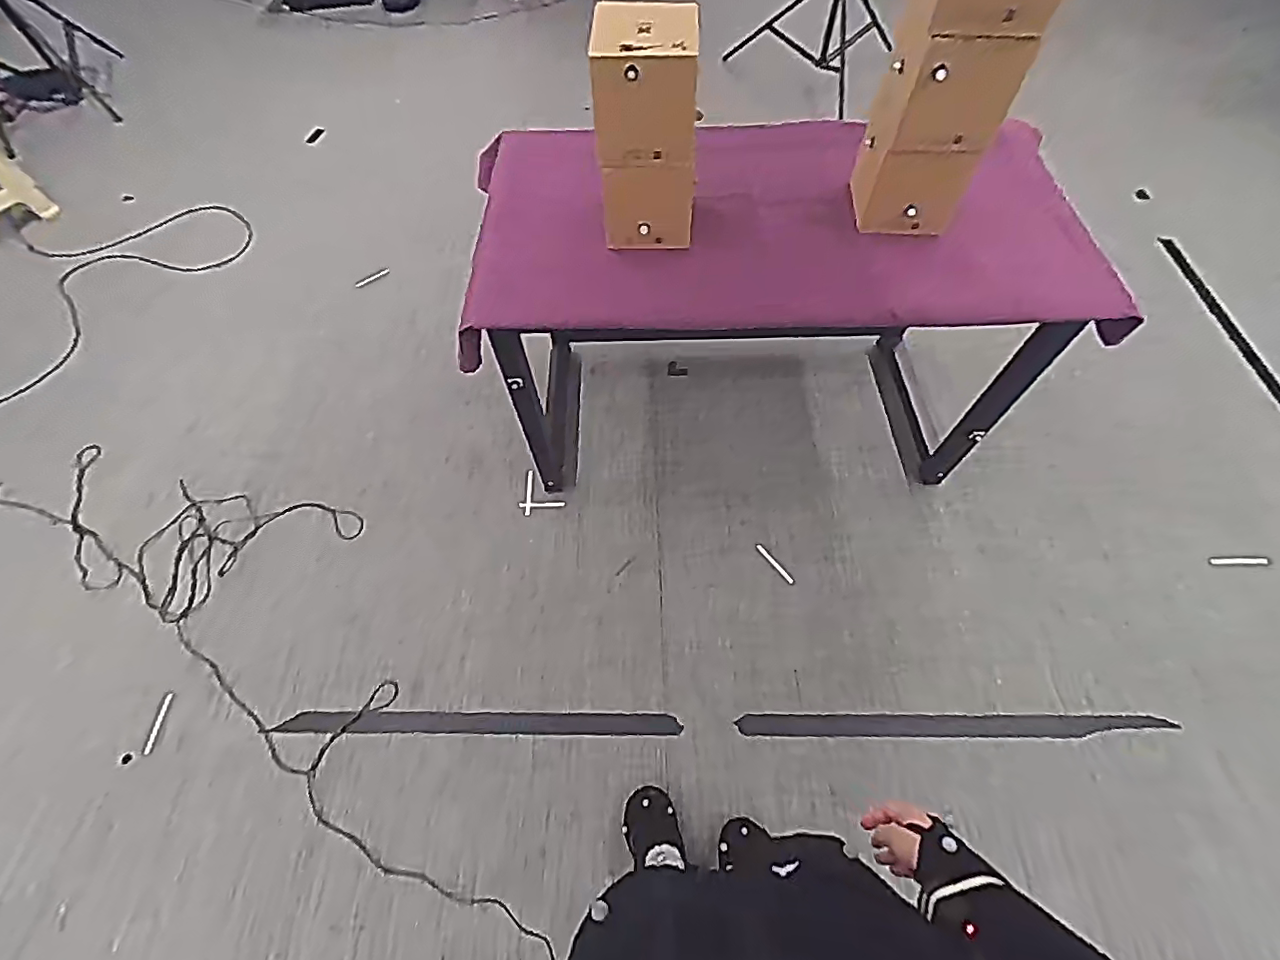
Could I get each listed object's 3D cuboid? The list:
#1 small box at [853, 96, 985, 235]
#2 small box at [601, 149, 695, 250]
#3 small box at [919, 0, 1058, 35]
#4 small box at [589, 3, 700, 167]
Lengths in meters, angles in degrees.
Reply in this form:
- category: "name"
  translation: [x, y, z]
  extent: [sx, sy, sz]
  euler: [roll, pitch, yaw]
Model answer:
- category: "small box"
  translation: [0.523, -0.604, 1.044]
  extent: [0.168, 0.176, 0.179]
  euler: [3, 61, 5]
- category: "small box"
  translation: [0.017, -0.573, 1.043]
  extent: [0.168, 0.176, 0.179]
  euler: [0, 62, 2]
- category: "small box"
  translation: [0.510, -0.758, 0.756]
  extent: [0.168, 0.176, 0.179]
  euler: [6, 60, 4]
- category: "small box"
  translation: [0.011, -0.653, 0.900]
  extent: [0.168, 0.176, 0.179]
  euler: [1, 61, 3]
